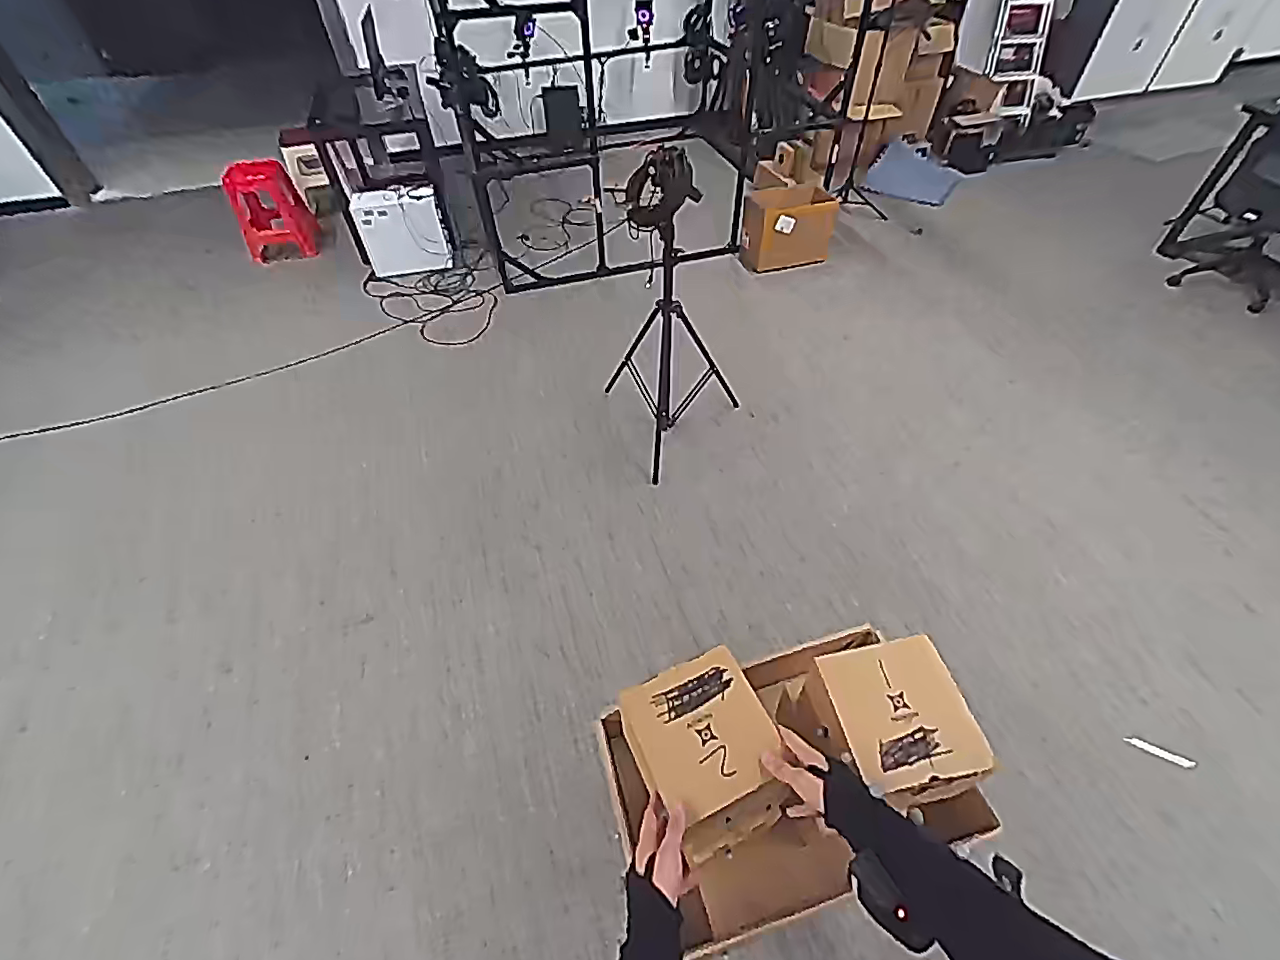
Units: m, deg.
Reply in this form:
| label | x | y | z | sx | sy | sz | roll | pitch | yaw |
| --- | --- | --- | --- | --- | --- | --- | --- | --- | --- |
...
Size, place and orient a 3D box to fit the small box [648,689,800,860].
| label | x | y | z | sx | sy | sz | roll | pitch | yaw |
| --- | --- | --- | --- | --- | --- | --- | --- | --- | --- |
| small box | 0.123 | 0.473 | 0.867 | 0.179 | 0.176 | 0.168 | -21 | 51 | -15 |

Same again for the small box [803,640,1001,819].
| label | x | y | z | sx | sy | sz | roll | pitch | yaw |
| --- | --- | --- | --- | --- | --- | --- | --- | --- | --- |
| small box | 0.341 | 0.349 | 0.745 | 0.168 | 0.176 | 0.179 | -11 | 49 | -3 |

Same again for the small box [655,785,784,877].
| label | x | y | z | sx | sy | sz | roll | pitch | yaw |
| --- | --- | --- | --- | --- | --- | --- | --- | --- | --- |
| small box | 0.133 | 0.585 | 0.987 | 0.168 | 0.176 | 0.179 | -21 | 52 | -15 |
